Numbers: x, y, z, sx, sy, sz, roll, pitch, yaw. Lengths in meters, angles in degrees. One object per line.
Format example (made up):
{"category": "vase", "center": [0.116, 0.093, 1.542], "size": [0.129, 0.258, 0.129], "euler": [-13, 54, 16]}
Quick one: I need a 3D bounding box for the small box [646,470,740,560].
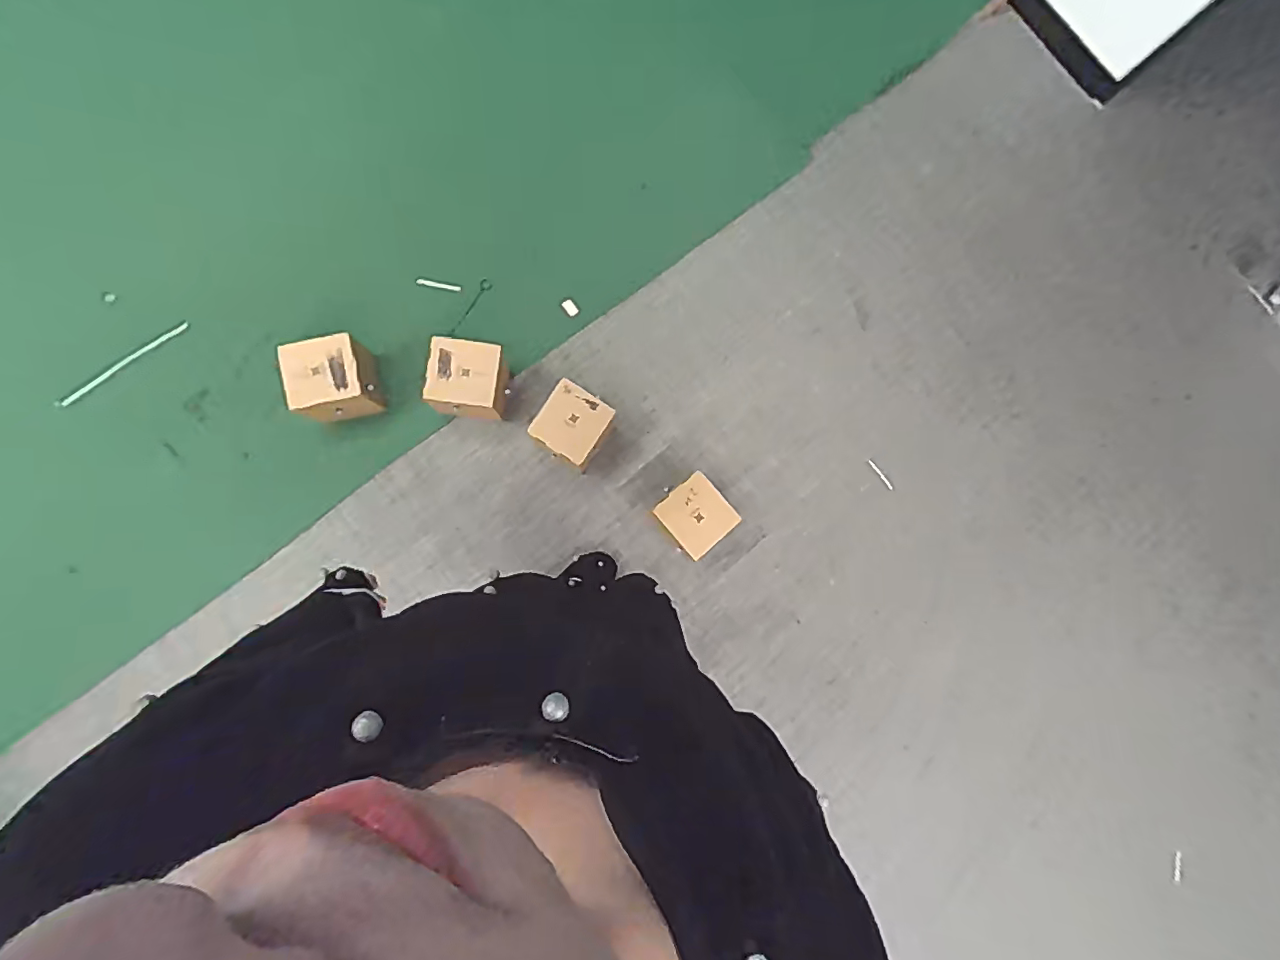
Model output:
{"category": "small box", "center": [0.136, 0.094, 1.459], "size": [0.168, 0.176, 0.179], "euler": [-40, 90, -8]}

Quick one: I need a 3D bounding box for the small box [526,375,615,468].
{"category": "small box", "center": [-0.181, -0.147, 1.455], "size": [0.168, 0.176, 0.179], "euler": [34, 83, -1]}

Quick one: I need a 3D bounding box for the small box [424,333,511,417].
{"category": "small box", "center": [-0.452, -0.273, 1.443], "size": [0.179, 0.176, 0.168], "euler": [8, 84, -5]}
